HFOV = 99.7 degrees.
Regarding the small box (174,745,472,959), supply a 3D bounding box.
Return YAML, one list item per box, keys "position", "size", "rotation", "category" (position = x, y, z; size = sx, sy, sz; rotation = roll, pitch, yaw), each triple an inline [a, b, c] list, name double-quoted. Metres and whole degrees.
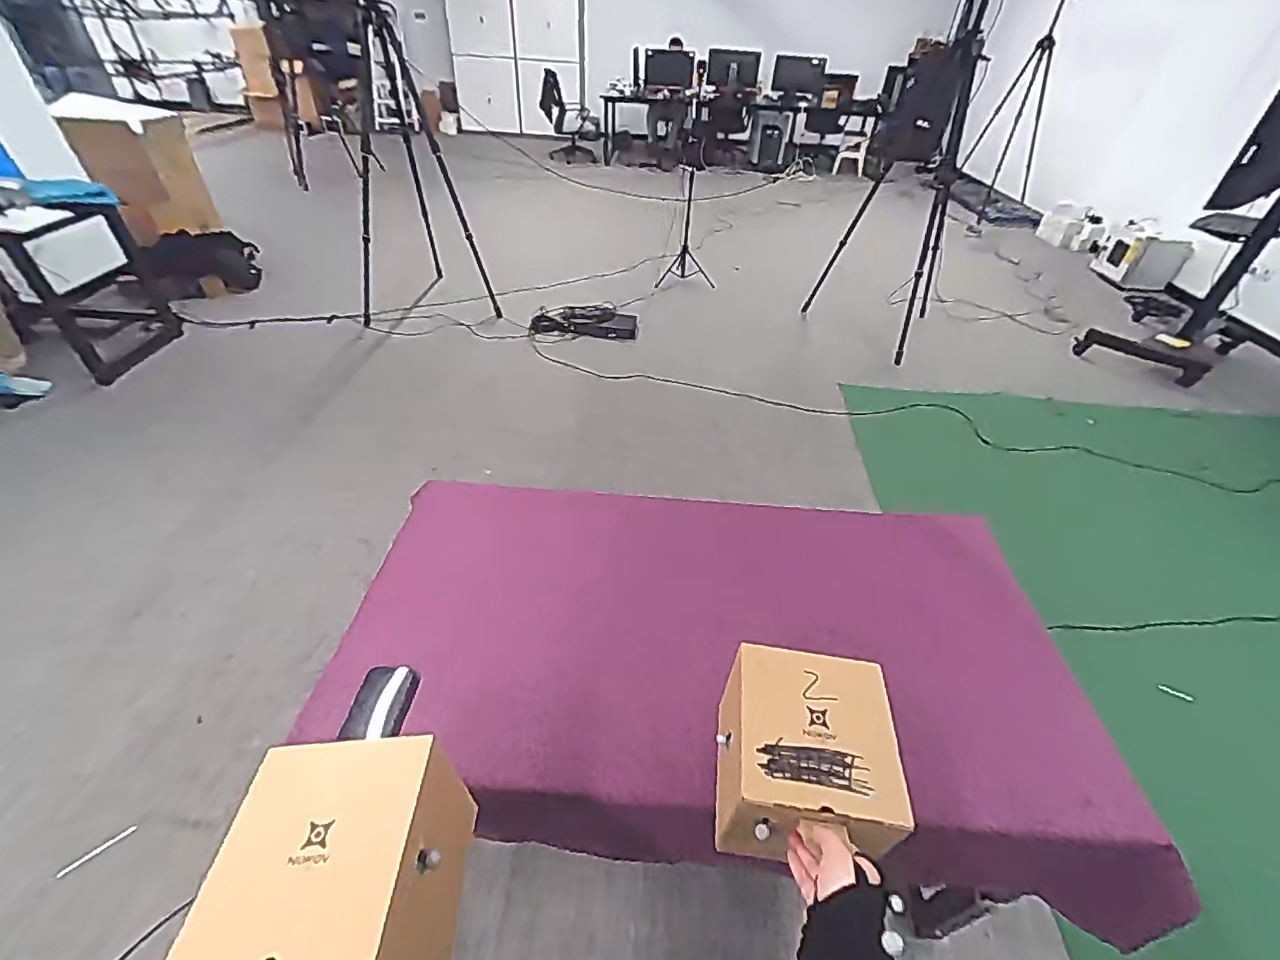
- position: [-0.272, 0.384, 0.518]
  size: [0.168, 0.176, 0.179]
  rotation: [-5, 38, 1]
  category: "small box"
